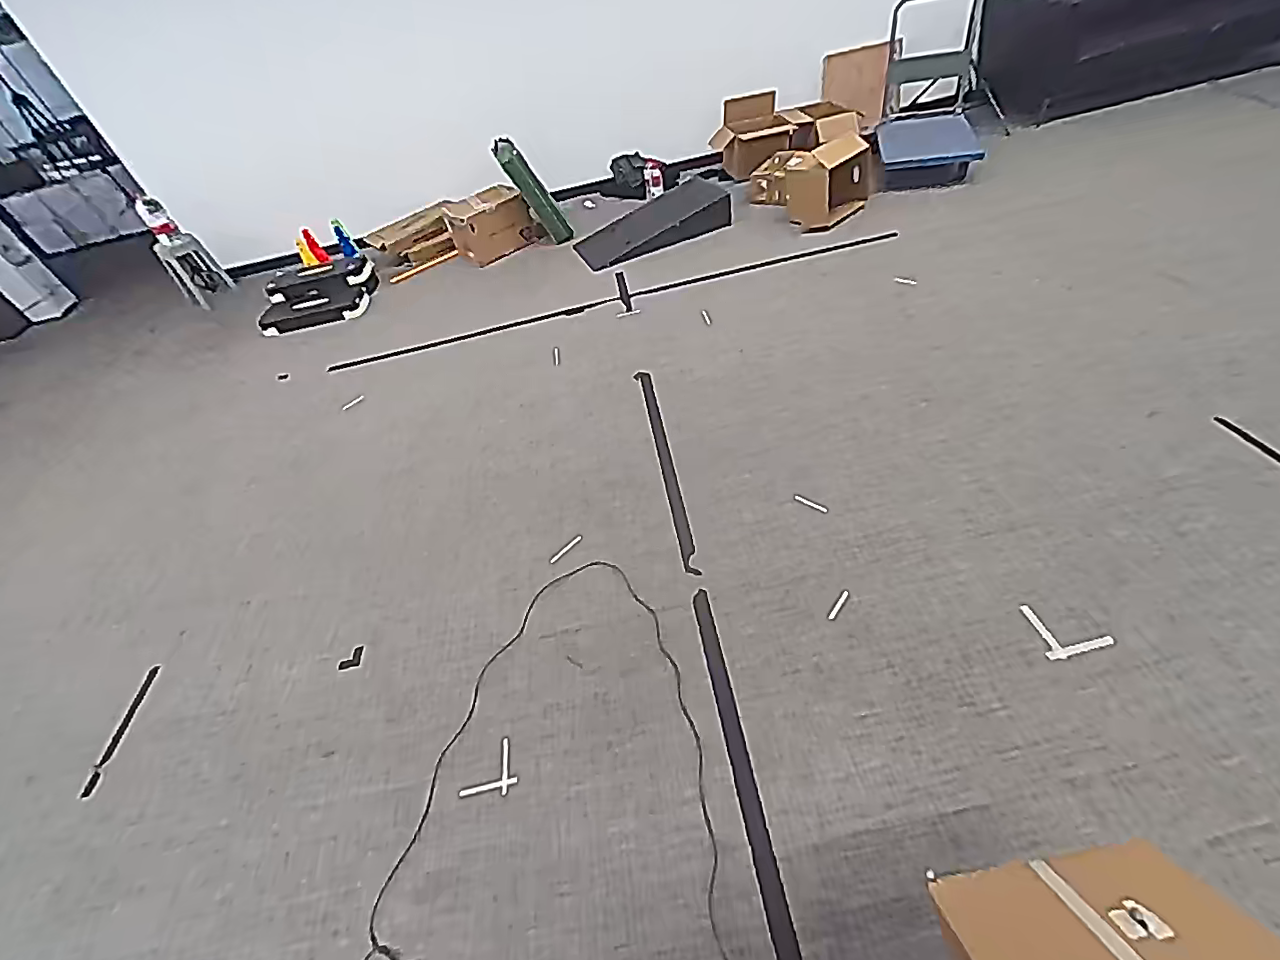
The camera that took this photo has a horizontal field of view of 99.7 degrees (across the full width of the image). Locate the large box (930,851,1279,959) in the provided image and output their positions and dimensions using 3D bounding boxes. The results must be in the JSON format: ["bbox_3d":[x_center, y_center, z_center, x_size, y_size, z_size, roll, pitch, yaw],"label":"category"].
[{"bbox_3d":[0.593,0.699,0.578,0.320,0.408,0.320,-14,84,5],"label":"large box"}]
